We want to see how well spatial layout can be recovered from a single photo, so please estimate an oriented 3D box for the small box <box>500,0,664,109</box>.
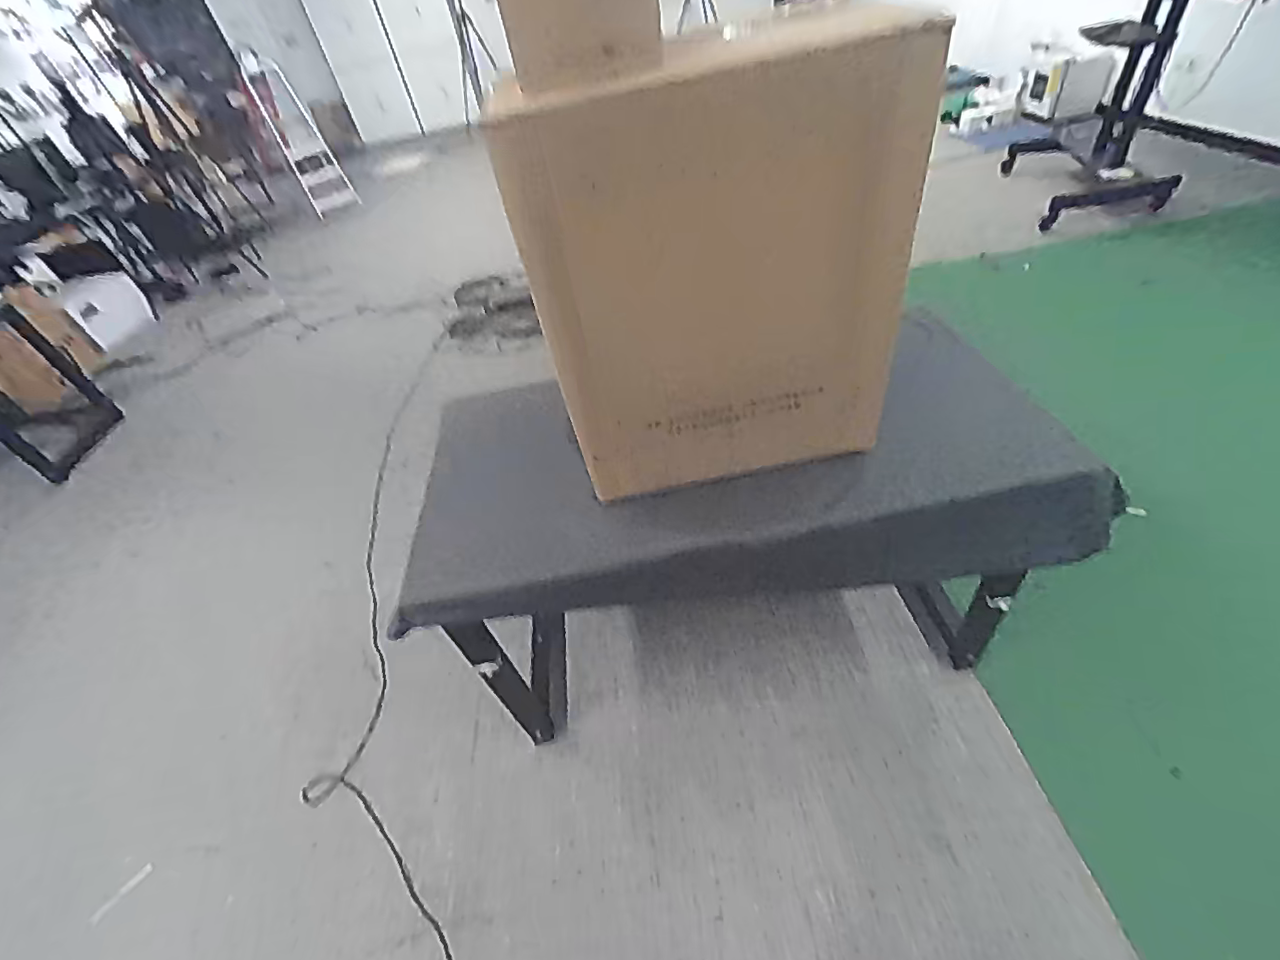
[{"bbox_3d":[-0.071,-0.547,0.621,0.168,0.176,0.179,-12,44,-1],"label":"small box"}]
